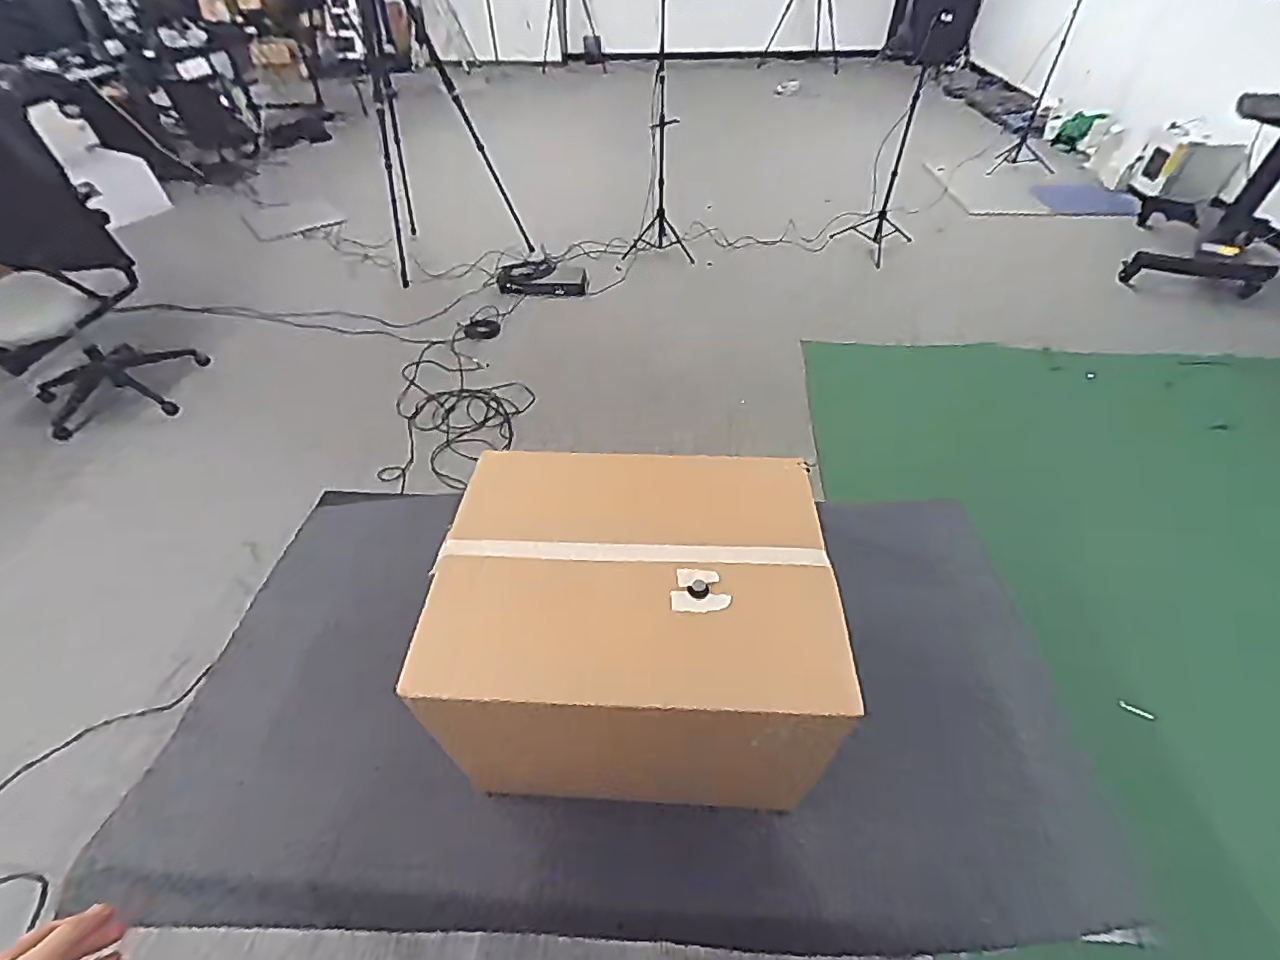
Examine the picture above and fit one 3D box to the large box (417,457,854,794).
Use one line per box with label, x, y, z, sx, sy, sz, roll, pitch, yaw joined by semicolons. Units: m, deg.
large box;-0.002;0.187;0.691;0.408;0.320;0.320;2;47;2
